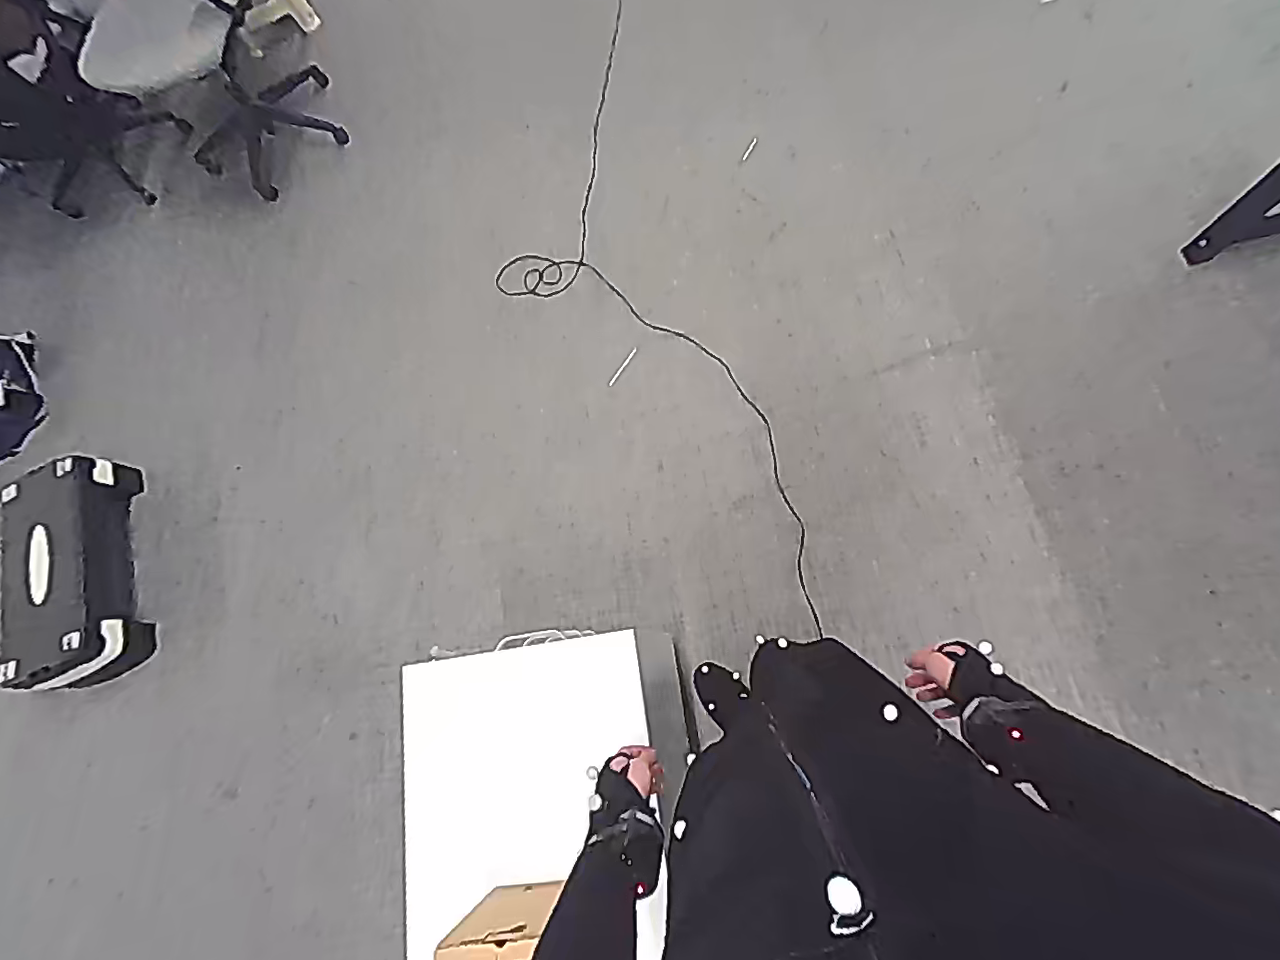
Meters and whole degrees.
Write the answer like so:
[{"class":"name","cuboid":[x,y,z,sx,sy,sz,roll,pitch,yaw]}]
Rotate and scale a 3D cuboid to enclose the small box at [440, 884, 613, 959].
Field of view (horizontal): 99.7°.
[{"class":"small box","cuboid":[-0.131,0.635,0.674,0.168,0.176,0.179,-11,72,7]}]
